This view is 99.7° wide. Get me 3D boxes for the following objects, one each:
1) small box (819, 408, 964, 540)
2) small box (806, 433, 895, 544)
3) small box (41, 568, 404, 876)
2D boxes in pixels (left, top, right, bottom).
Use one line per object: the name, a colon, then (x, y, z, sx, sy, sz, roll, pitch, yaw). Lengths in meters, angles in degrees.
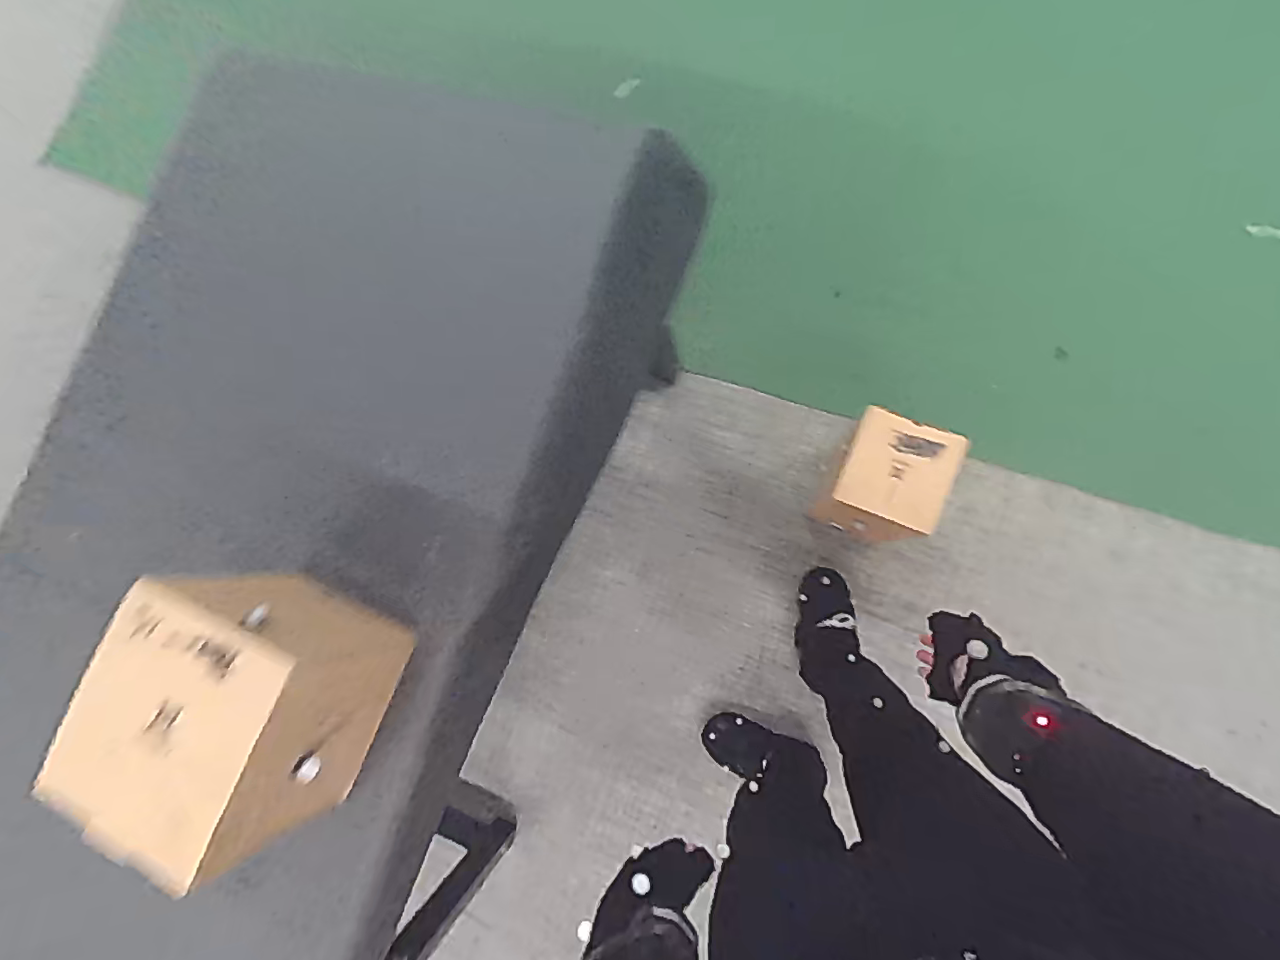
small box: (0.439, -0.004, 0.976, 0.168, 0.176, 0.179, 23, 87, 12)
small box: (0.463, 0.023, 1.137, 0.168, 0.176, 0.179, 23, 87, 12)
small box: (-0.353, 0.191, 0.491, 0.168, 0.176, 0.179, 22, 86, 12)
